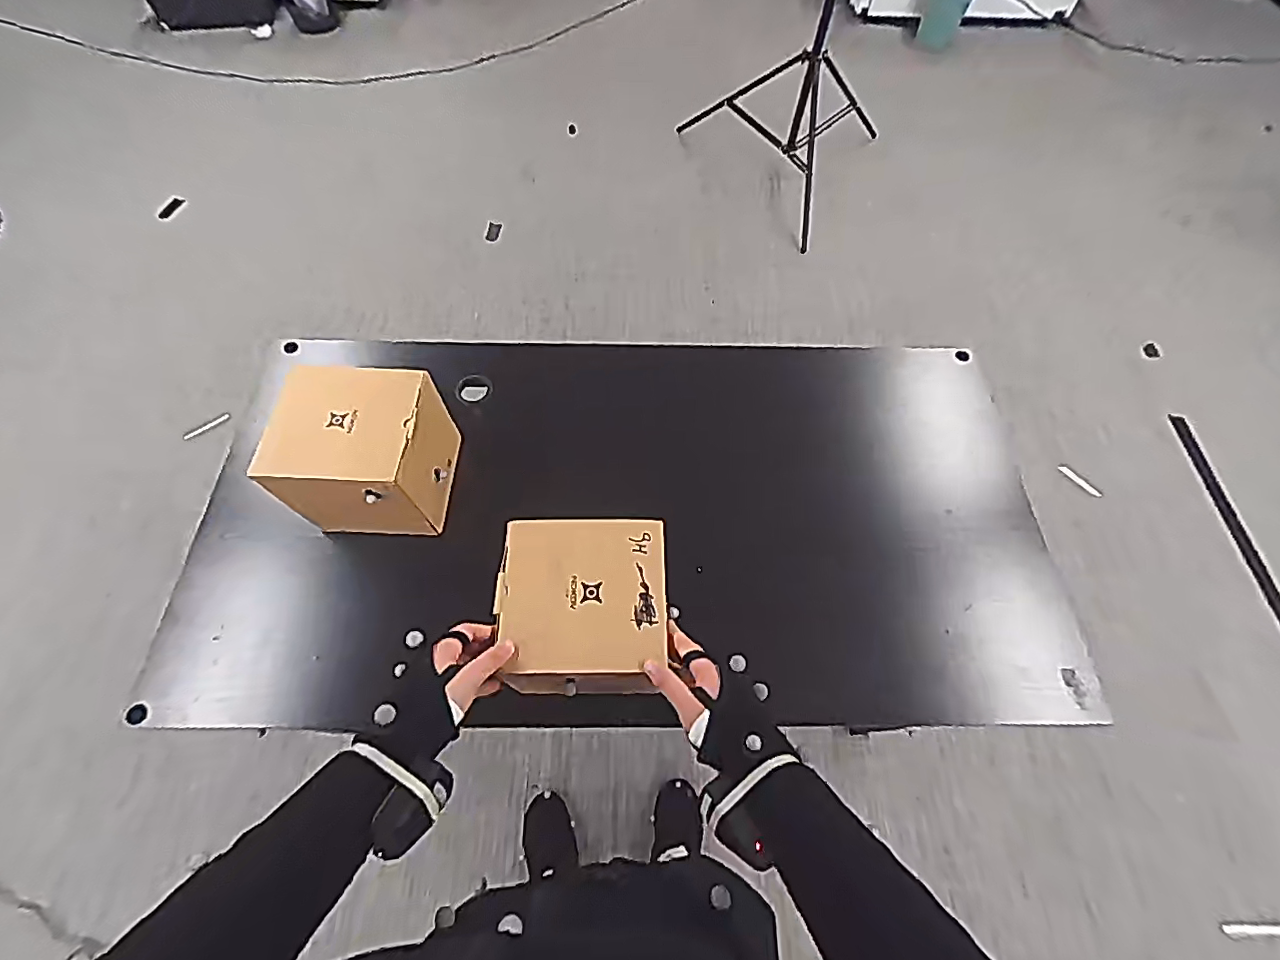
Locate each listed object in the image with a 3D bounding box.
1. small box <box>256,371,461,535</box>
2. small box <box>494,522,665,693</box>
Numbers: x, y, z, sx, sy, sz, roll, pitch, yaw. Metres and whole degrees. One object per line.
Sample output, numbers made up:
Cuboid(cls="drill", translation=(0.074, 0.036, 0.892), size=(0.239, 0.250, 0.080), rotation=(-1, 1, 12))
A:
Cuboid(cls="small box", translation=(-0.365, -0.031, 0.741), size=(0.179, 0.176, 0.168), rotation=(2, 62, -1))
Cuboid(cls="small box", translation=(-0.061, 0.159, 0.649), size=(0.179, 0.176, 0.168), rotation=(0, 62, -1))
